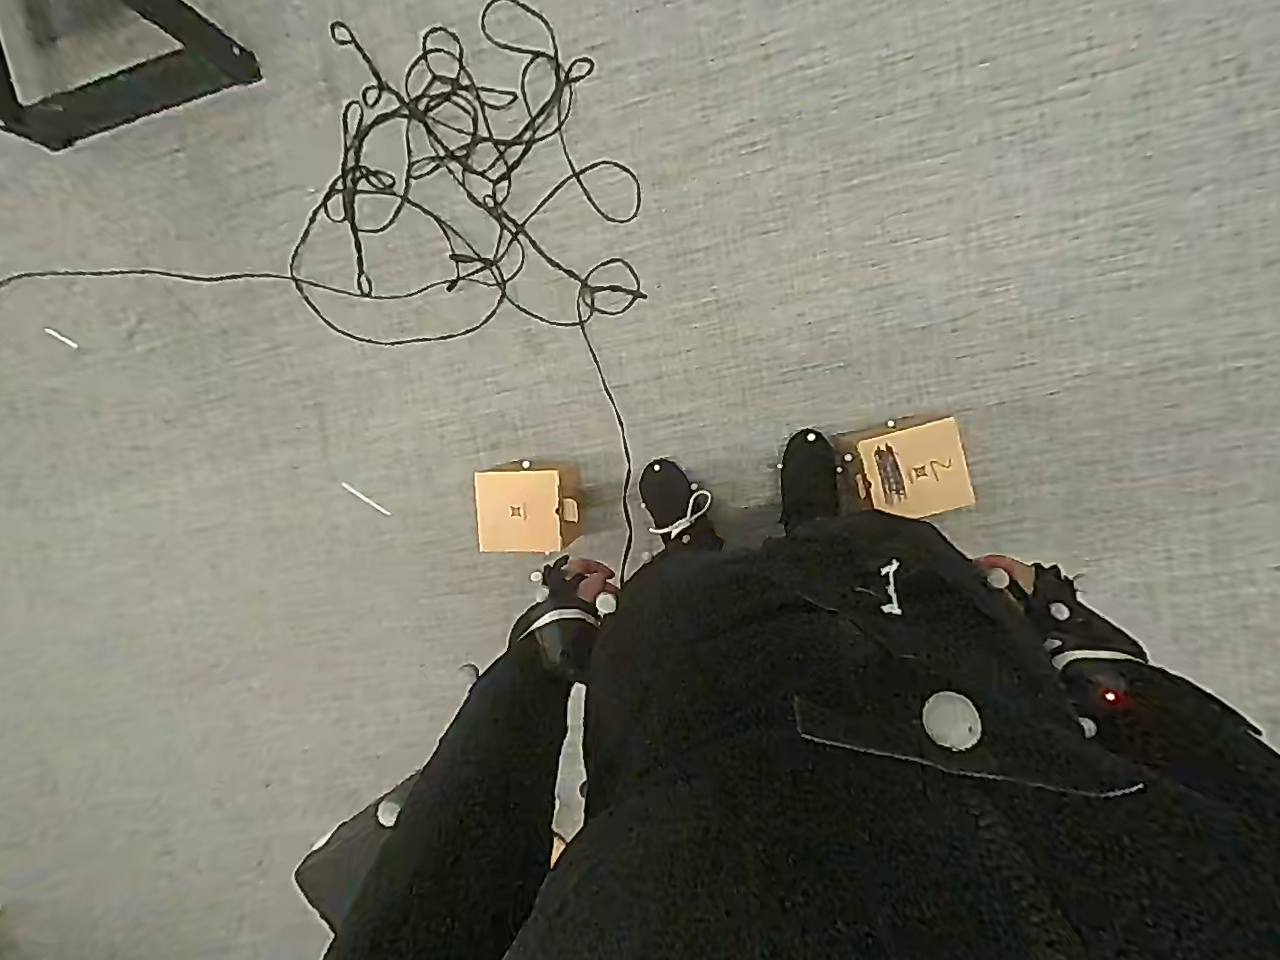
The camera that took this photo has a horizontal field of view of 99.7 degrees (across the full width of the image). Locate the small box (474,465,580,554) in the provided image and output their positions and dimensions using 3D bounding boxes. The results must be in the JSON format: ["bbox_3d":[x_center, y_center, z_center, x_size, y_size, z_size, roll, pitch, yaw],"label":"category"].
[{"bbox_3d":[-0.235,0.058,1.156,0.179,0.176,0.168,-1,97,7],"label":"small box"}]
